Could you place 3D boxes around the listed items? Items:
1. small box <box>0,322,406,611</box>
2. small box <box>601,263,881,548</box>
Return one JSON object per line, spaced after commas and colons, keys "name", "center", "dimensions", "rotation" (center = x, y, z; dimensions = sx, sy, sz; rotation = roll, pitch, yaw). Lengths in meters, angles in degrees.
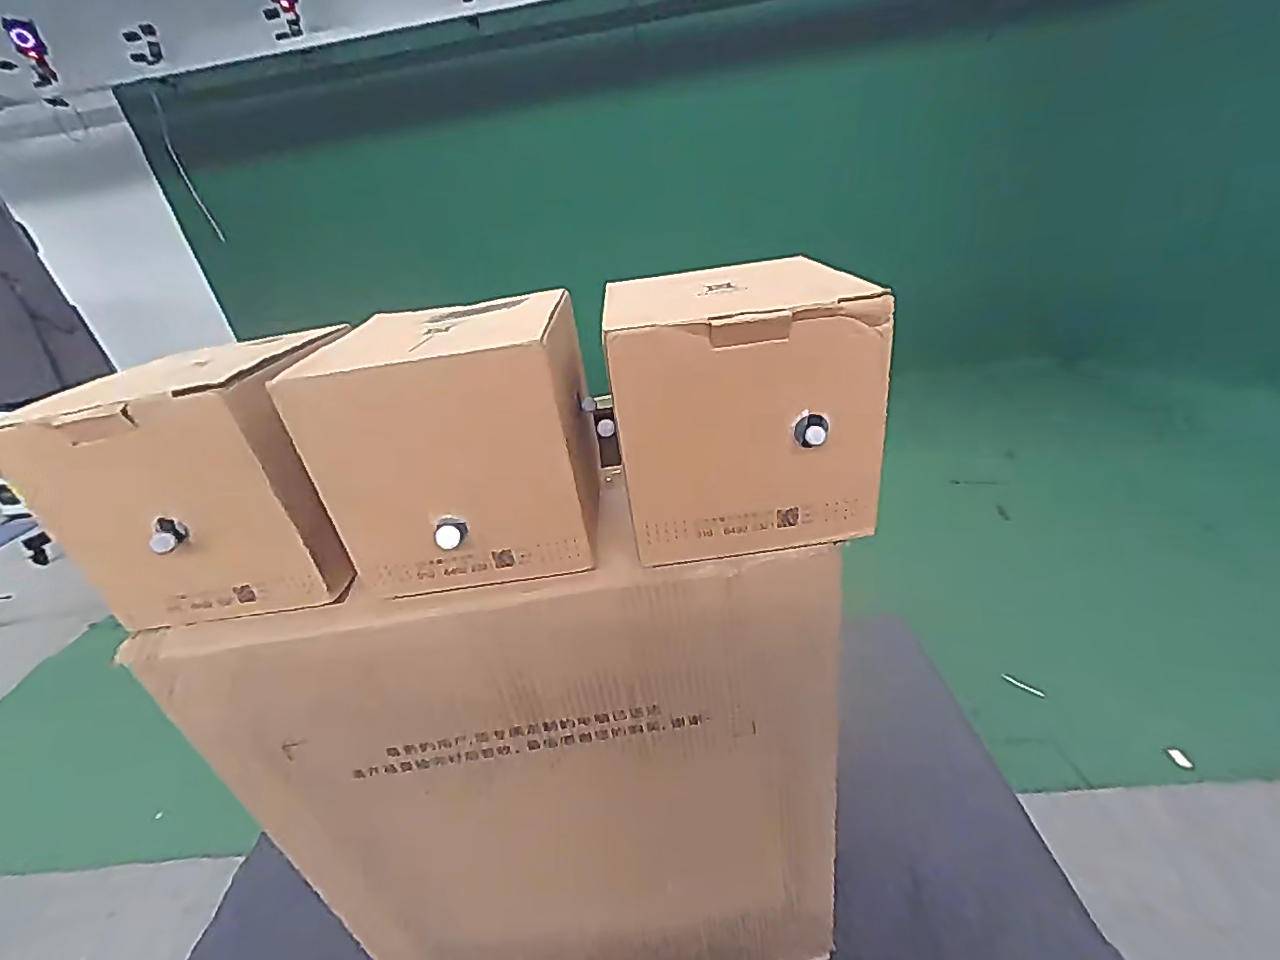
{"name": "small box", "center": [-0.317, -0.012, 0.436], "dimensions": [0.168, 0.176, 0.179], "rotation": [-8, 29, 2]}
{"name": "small box", "center": [0.062, -0.059, 0.417], "dimensions": [0.168, 0.176, 0.179], "rotation": [-6, 28, -1]}
